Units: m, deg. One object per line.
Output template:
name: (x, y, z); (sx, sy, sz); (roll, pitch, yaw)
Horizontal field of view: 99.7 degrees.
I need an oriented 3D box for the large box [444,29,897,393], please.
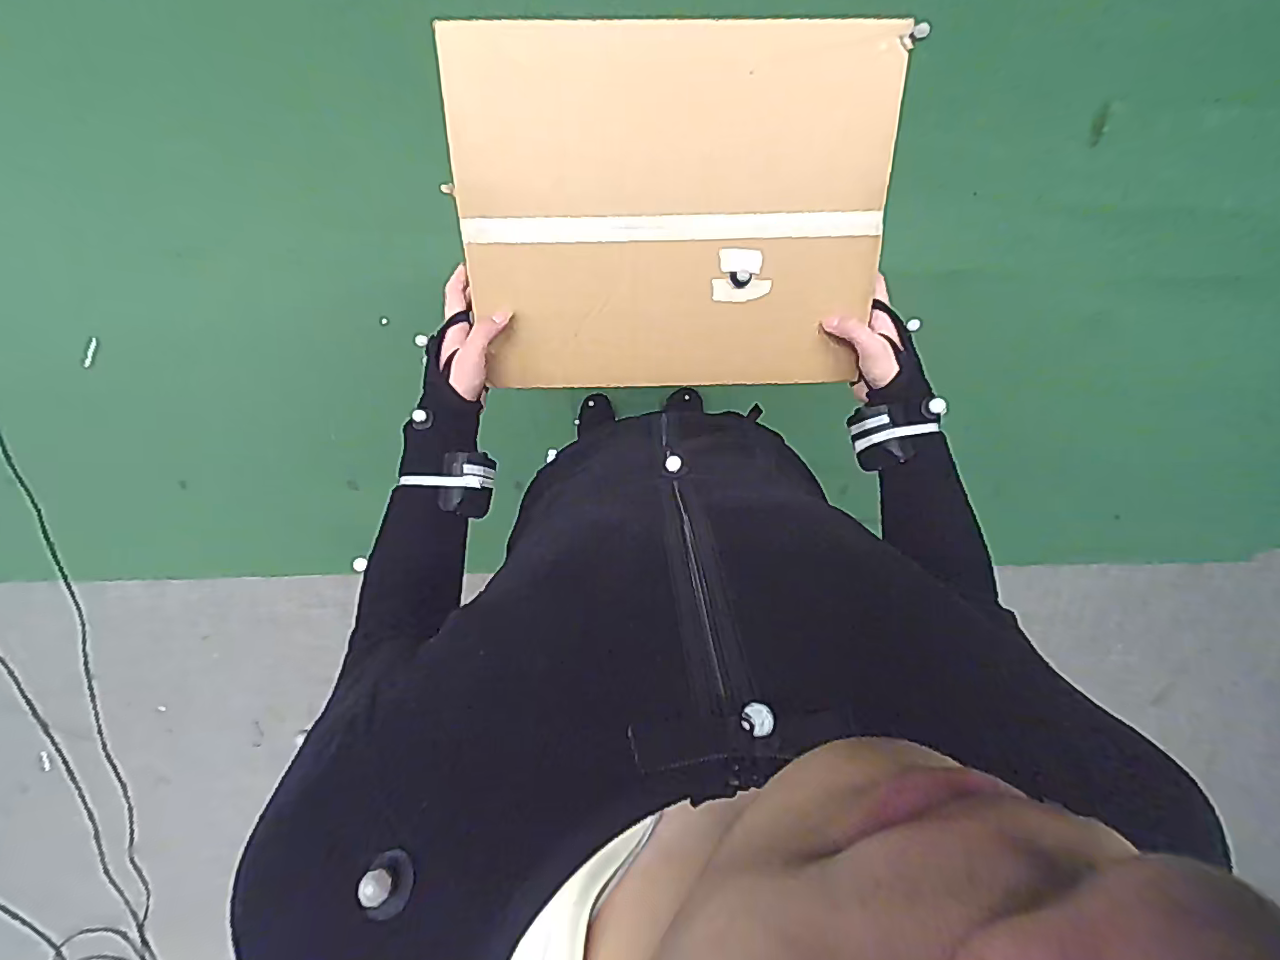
large box: (0.026, -0.305, 0.664); (0.408, 0.320, 0.320); (-2, 115, -2)
